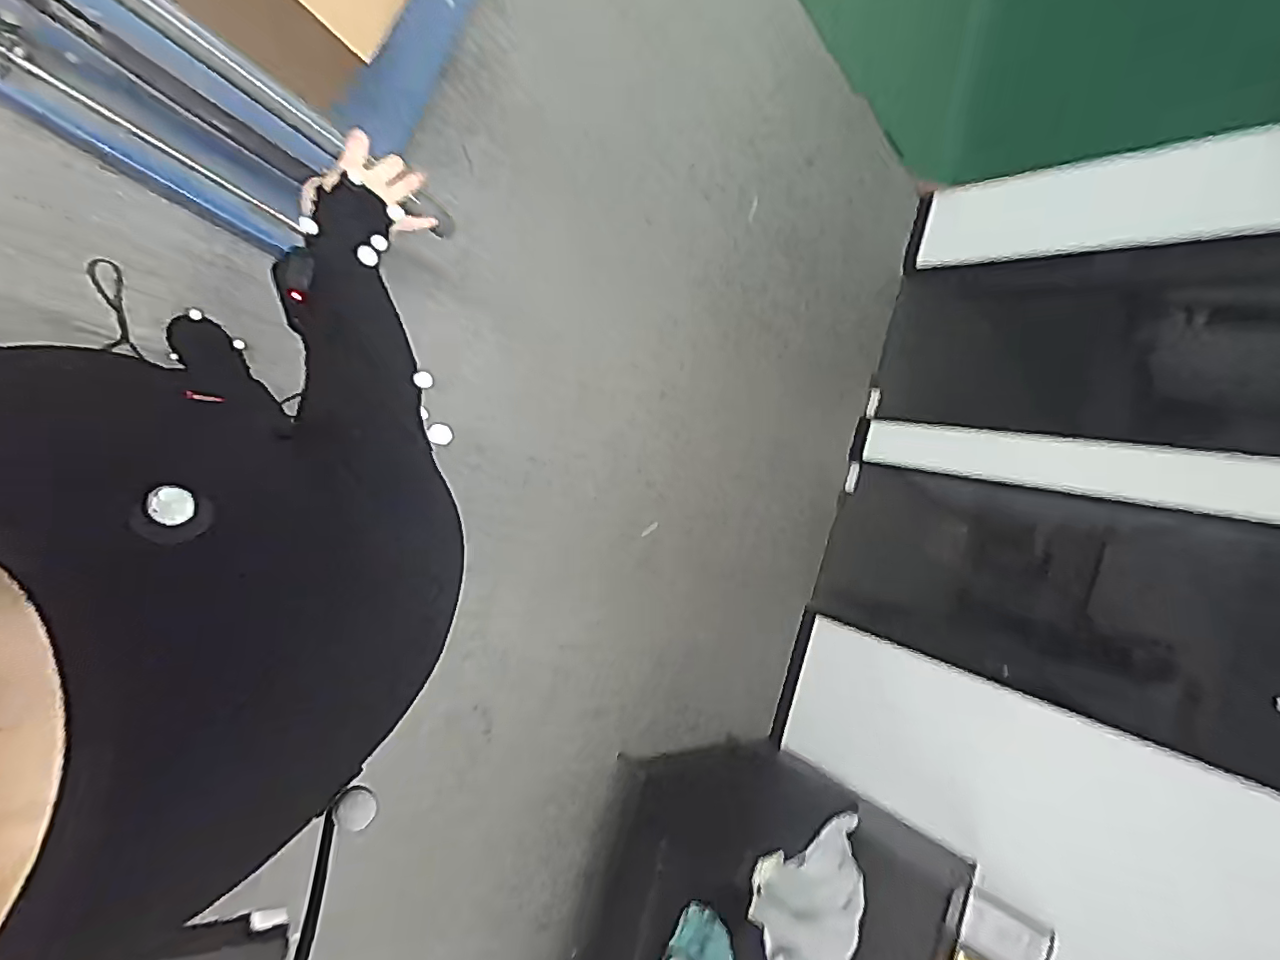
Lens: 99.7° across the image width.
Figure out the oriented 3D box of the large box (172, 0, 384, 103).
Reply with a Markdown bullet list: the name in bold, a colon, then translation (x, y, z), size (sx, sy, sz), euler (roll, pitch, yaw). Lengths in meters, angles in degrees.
- **large box**: translation (-0.639, -0.934, 0.868), size (0.408, 0.320, 0.320), euler (30, 80, -45)
